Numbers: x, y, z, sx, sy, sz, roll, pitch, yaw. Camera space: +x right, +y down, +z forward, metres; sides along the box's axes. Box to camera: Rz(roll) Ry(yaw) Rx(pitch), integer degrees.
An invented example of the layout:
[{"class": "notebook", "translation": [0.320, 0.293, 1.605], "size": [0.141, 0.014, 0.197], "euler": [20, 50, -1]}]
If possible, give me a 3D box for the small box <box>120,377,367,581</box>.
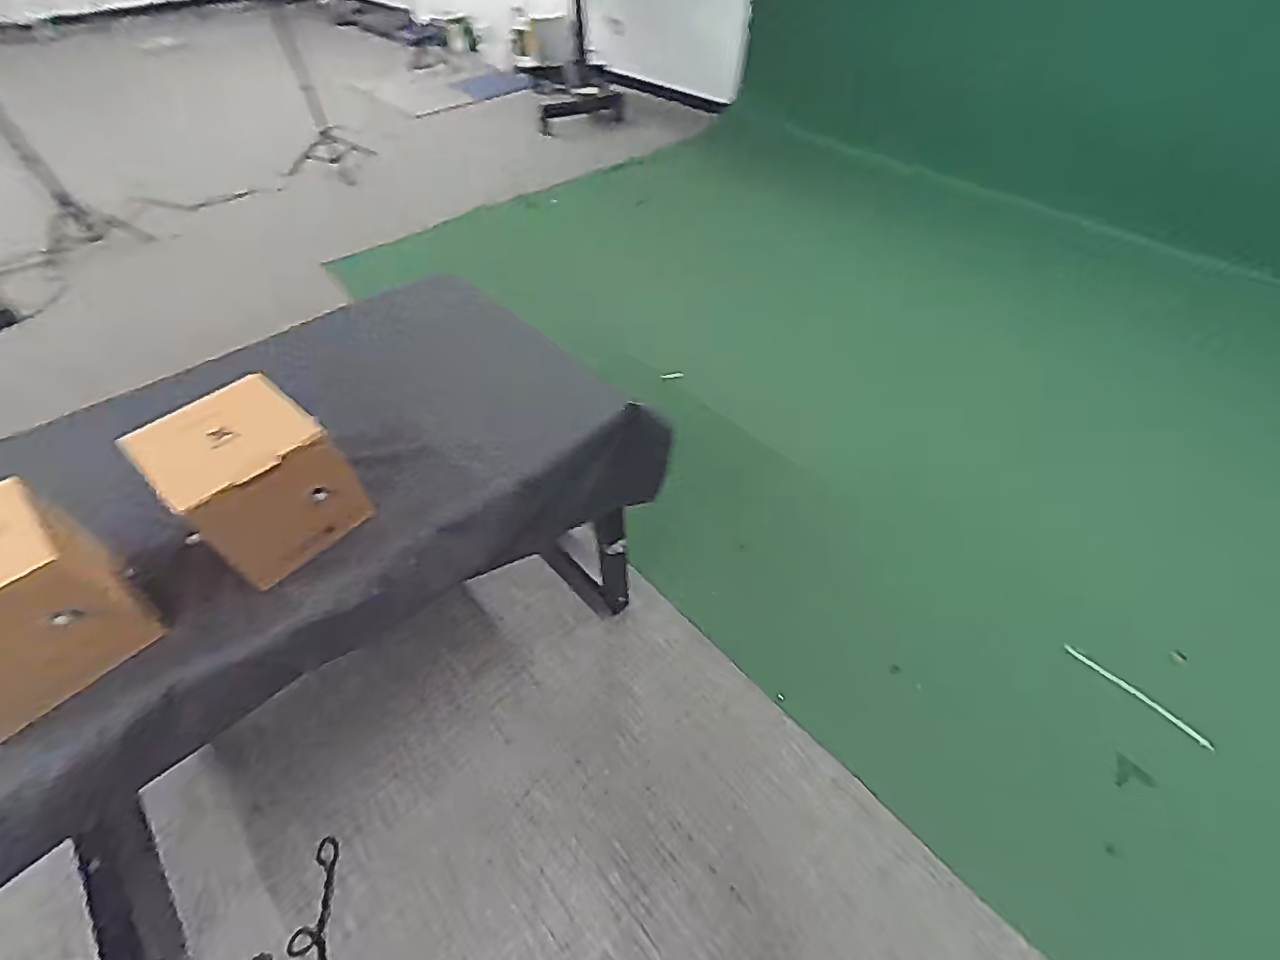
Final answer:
[{"class": "small box", "translation": [-0.493, 0.004, 0.698], "size": [0.179, 0.176, 0.168], "euler": [31, 55, 25]}]
